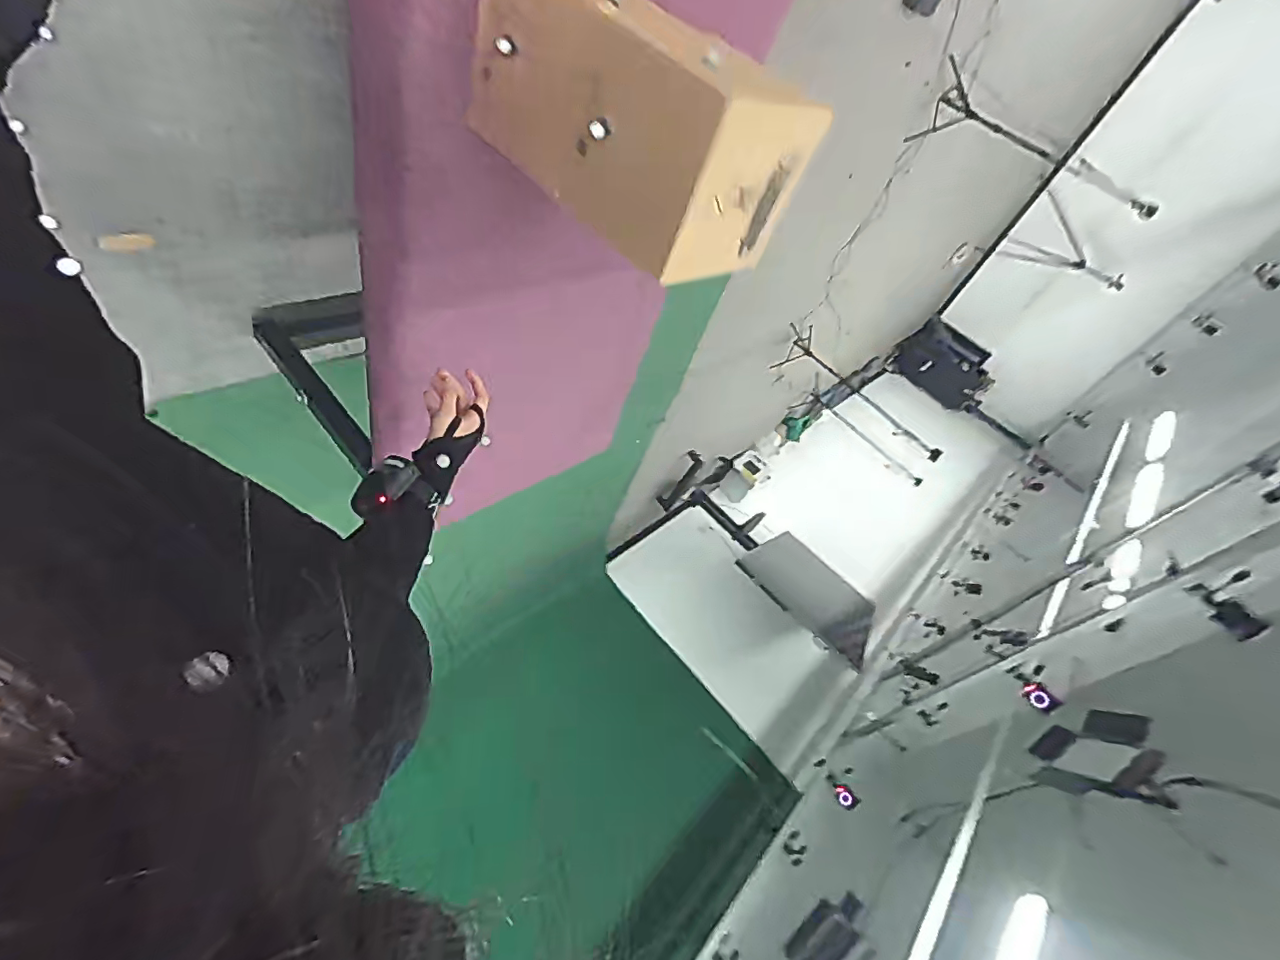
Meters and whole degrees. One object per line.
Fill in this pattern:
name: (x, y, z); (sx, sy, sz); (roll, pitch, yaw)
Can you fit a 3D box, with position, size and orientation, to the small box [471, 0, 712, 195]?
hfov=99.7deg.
small box: (-0.059, -0.442, 0.601); (0.179, 0.176, 0.168); (-28, 155, -41)
